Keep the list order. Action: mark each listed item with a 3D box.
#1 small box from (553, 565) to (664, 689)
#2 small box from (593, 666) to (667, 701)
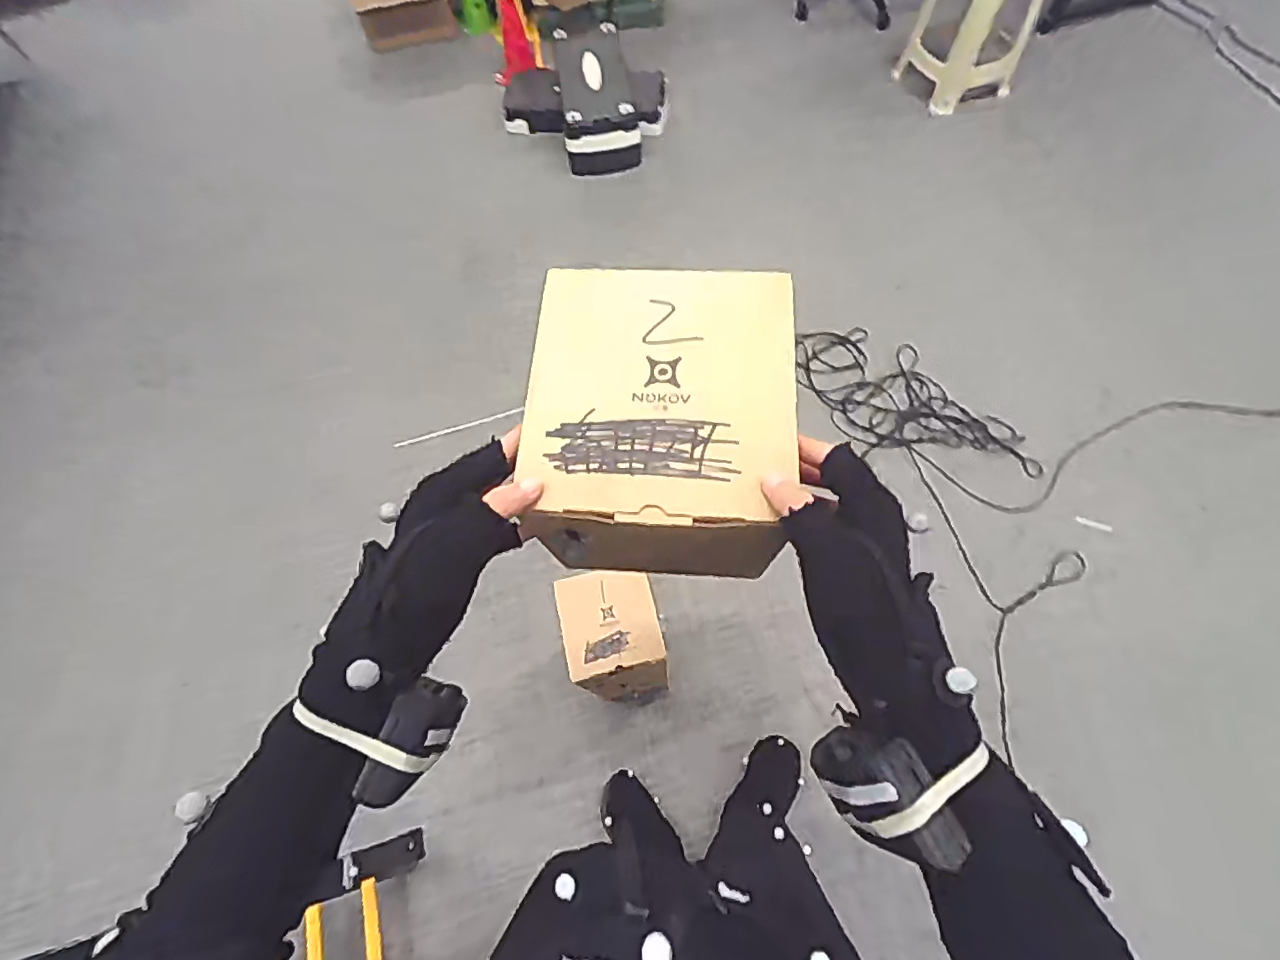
[{"bbox_3d":[-0.053,0.278,0.998,0.168,0.176,0.179,-13,64,-4],"label":"small box"},{"bbox_3d":[-0.033,0.418,1.292,0.168,0.176,0.179,-12,64,-2],"label":"small box"}]
